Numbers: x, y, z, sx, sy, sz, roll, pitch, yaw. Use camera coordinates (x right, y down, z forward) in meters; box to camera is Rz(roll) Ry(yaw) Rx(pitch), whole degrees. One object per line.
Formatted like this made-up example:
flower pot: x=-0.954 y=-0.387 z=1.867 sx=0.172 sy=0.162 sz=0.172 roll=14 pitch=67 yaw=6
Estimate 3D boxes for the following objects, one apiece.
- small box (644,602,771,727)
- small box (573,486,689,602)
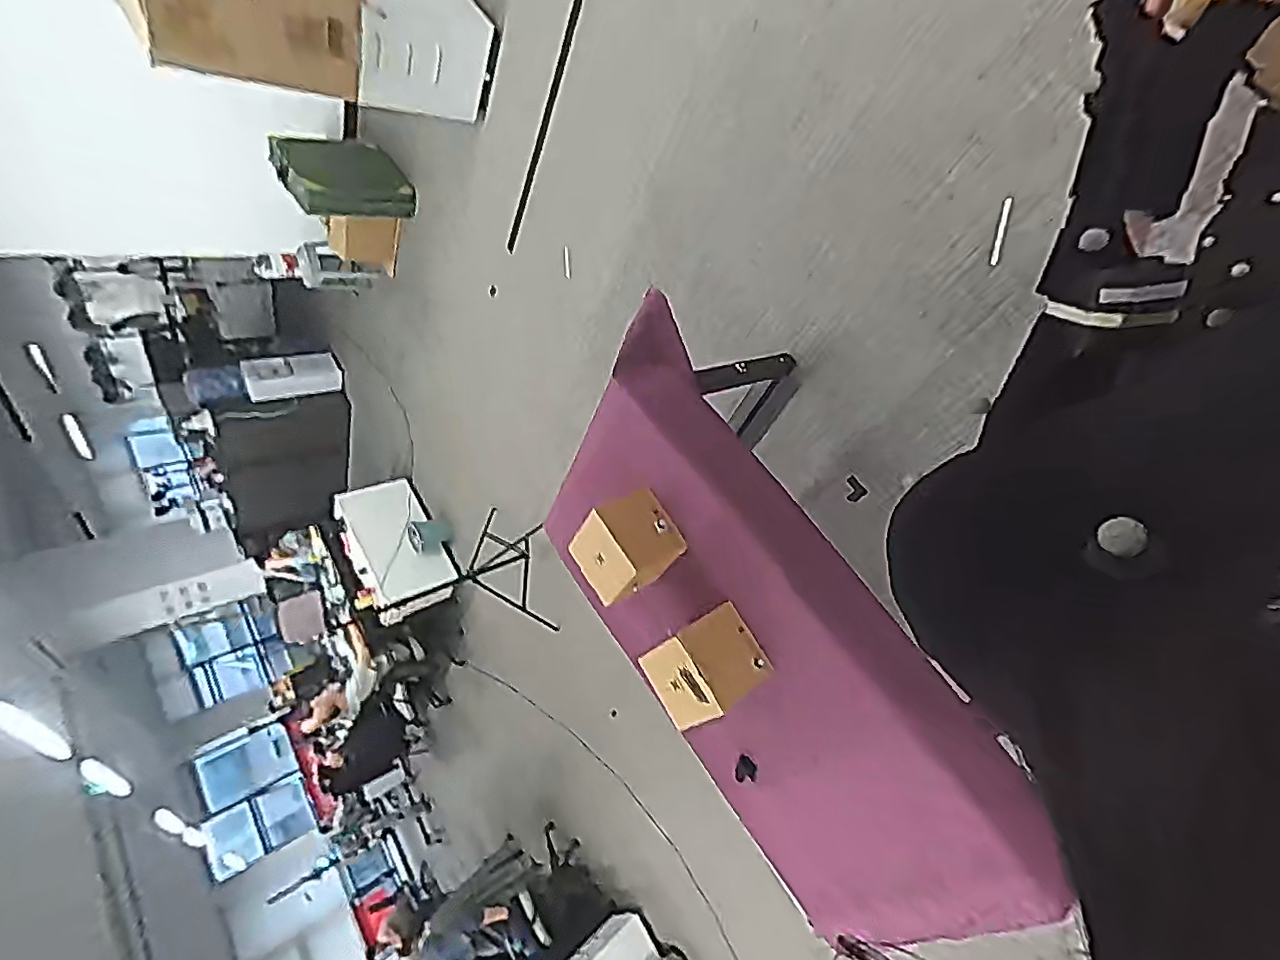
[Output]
small box: x=0.145 y=0.377 z=1.121 sx=0.168 sy=0.176 sz=0.179 roll=57 pitch=140 yaw=16
small box: x=-0.019 y=0.142 z=1.216 sx=0.168 sy=0.176 sz=0.179 roll=53 pitch=137 yaw=18
